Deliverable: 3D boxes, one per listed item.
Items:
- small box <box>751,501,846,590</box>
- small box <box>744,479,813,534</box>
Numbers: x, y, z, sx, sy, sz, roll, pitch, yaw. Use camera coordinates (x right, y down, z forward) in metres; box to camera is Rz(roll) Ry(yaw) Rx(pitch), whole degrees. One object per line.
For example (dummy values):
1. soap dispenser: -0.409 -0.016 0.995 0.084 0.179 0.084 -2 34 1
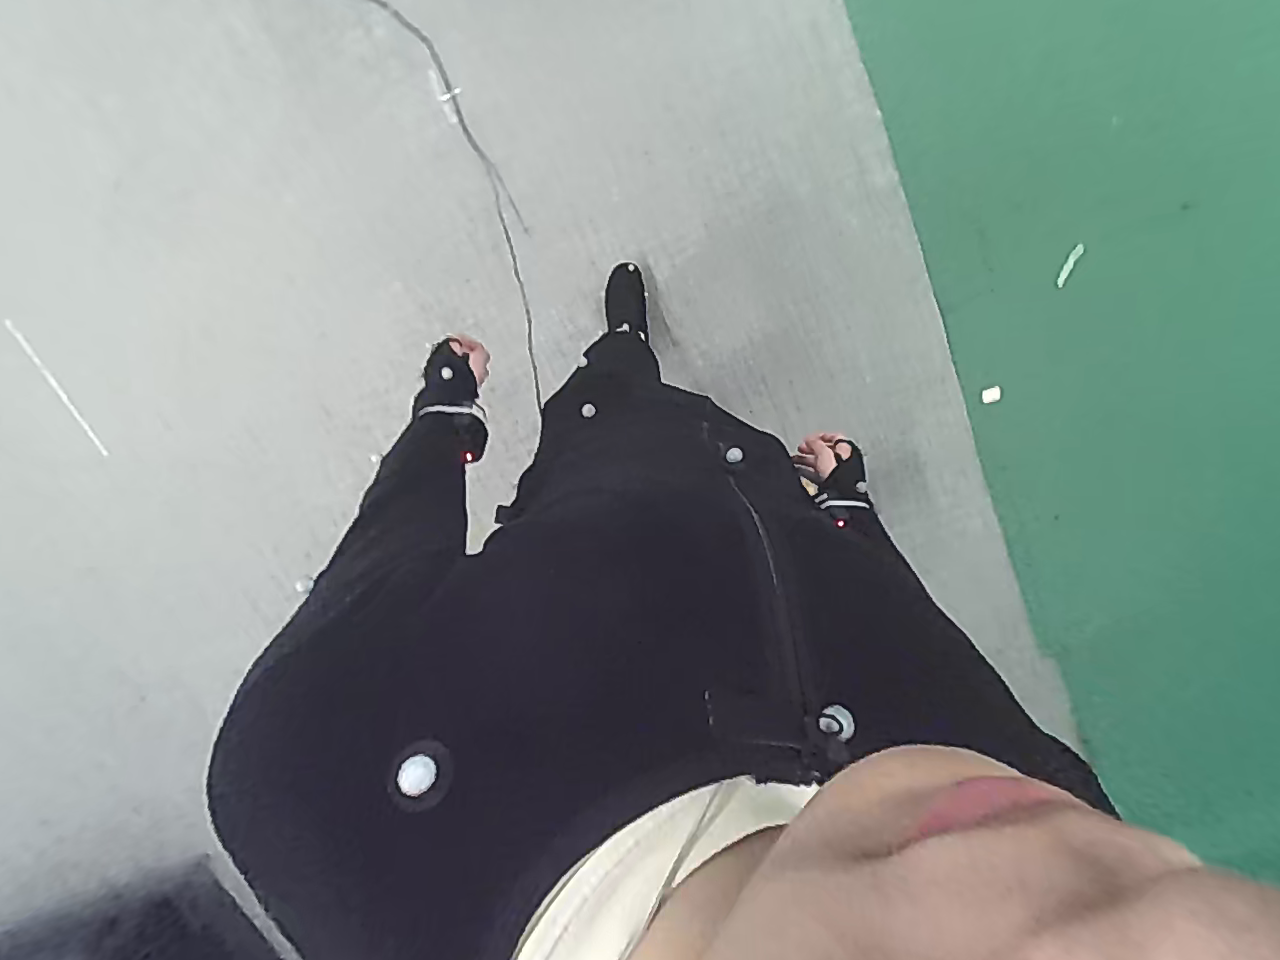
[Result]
1. small box: 0.410 0.166 1.430 0.179 0.176 0.168 14 104 -1
2. small box: 0.409 0.109 1.574 0.168 0.176 0.179 -17 104 8
